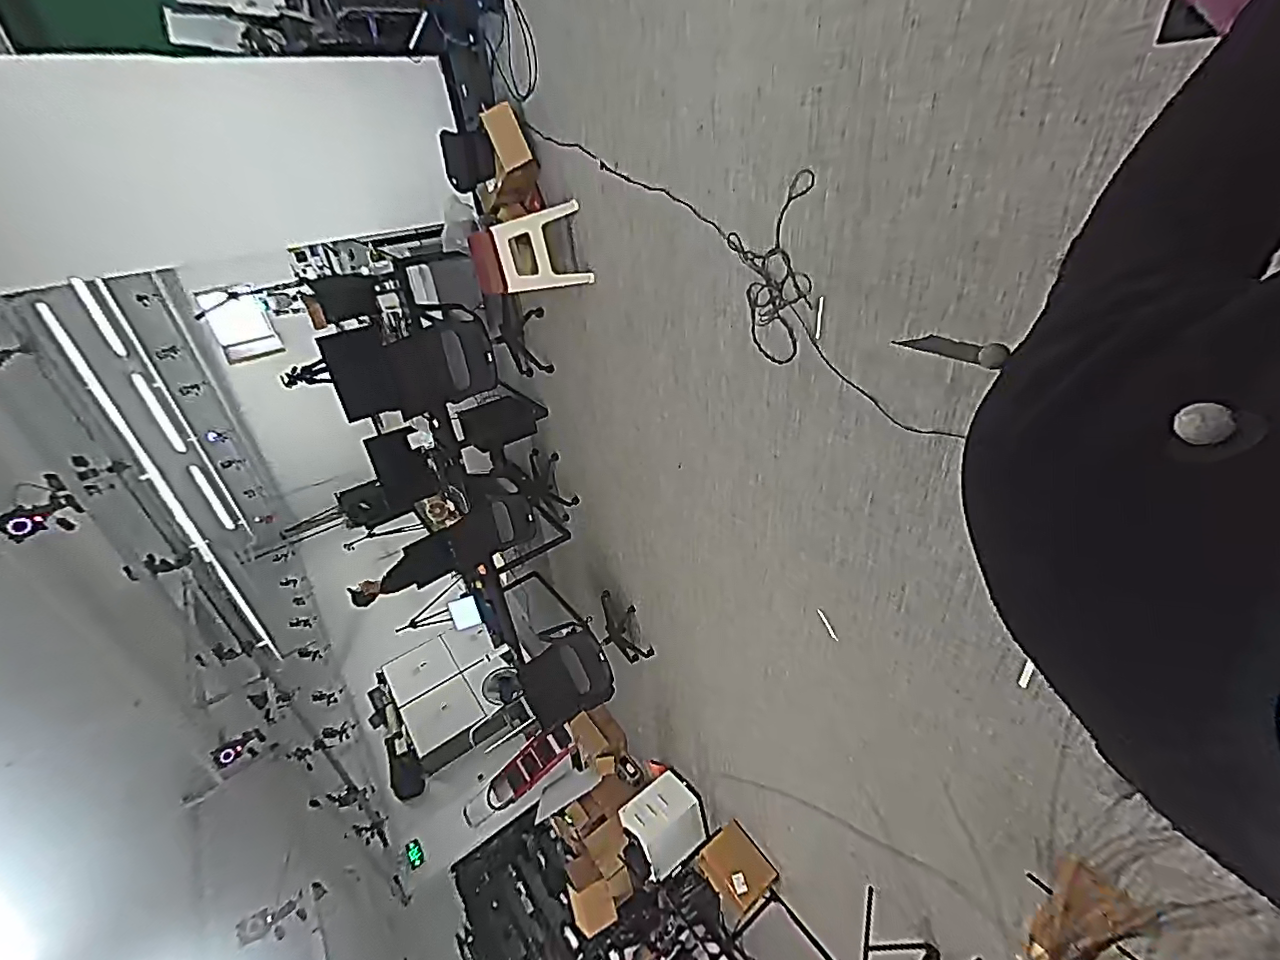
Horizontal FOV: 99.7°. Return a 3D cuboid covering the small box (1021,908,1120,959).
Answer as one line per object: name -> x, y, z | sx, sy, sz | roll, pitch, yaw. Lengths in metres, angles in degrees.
small box -> 1.335, 1.480, 1.674 | 0.168, 0.176, 0.179 | 37, 143, 41
